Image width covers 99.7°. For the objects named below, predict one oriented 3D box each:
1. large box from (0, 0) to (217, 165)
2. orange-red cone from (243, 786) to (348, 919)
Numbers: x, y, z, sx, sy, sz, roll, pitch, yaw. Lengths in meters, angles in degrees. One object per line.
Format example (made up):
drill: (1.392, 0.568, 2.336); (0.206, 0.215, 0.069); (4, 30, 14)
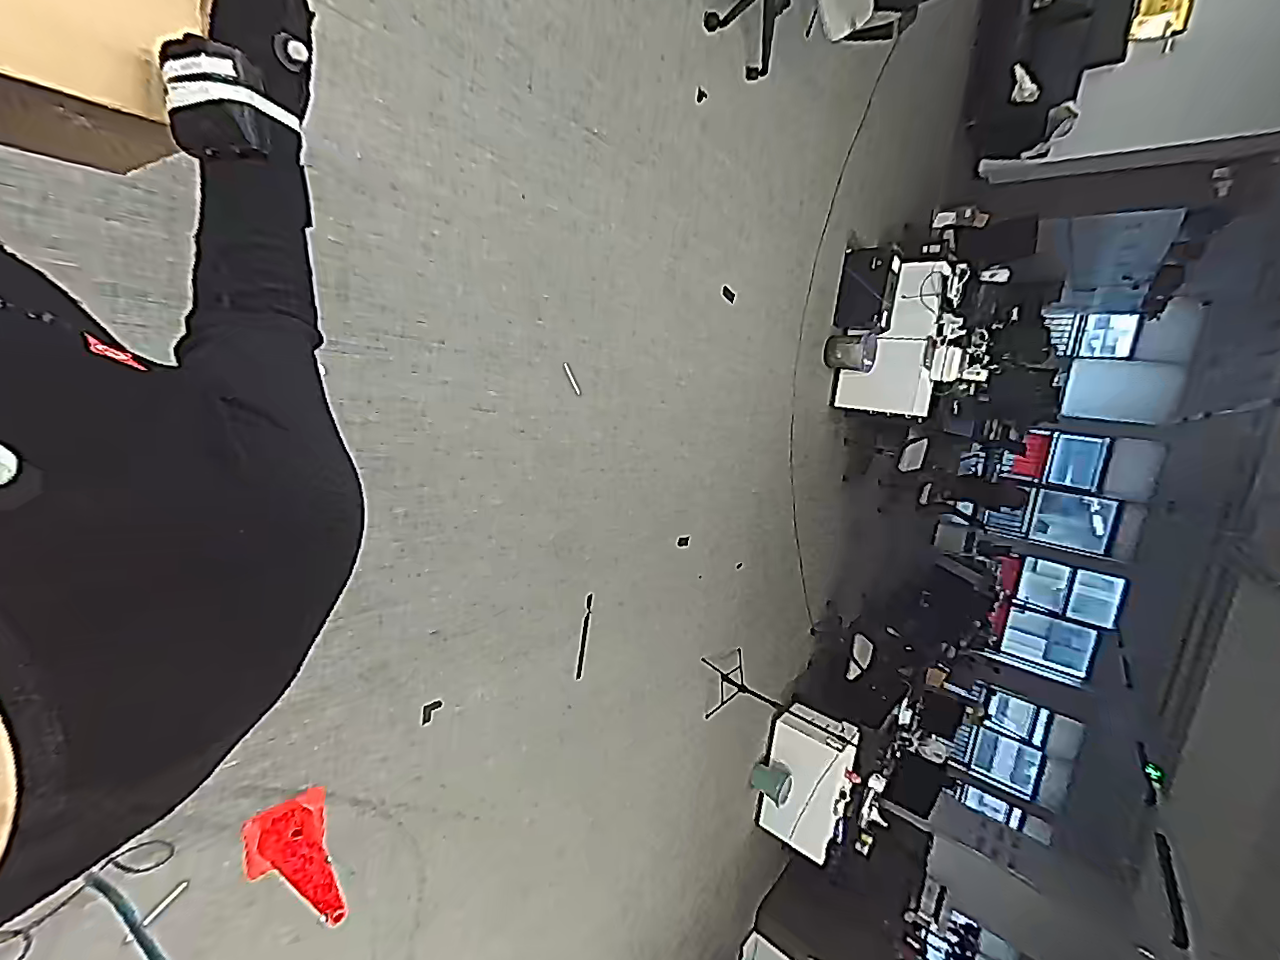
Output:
large box: (-0.543, -0.421, 0.304); (0.408, 0.320, 0.320); (-11, 113, -52)
orange-red cone: (-0.874, 1.027, 1.432); (0.198, 0.360, 0.199); (-9, 107, -51)
